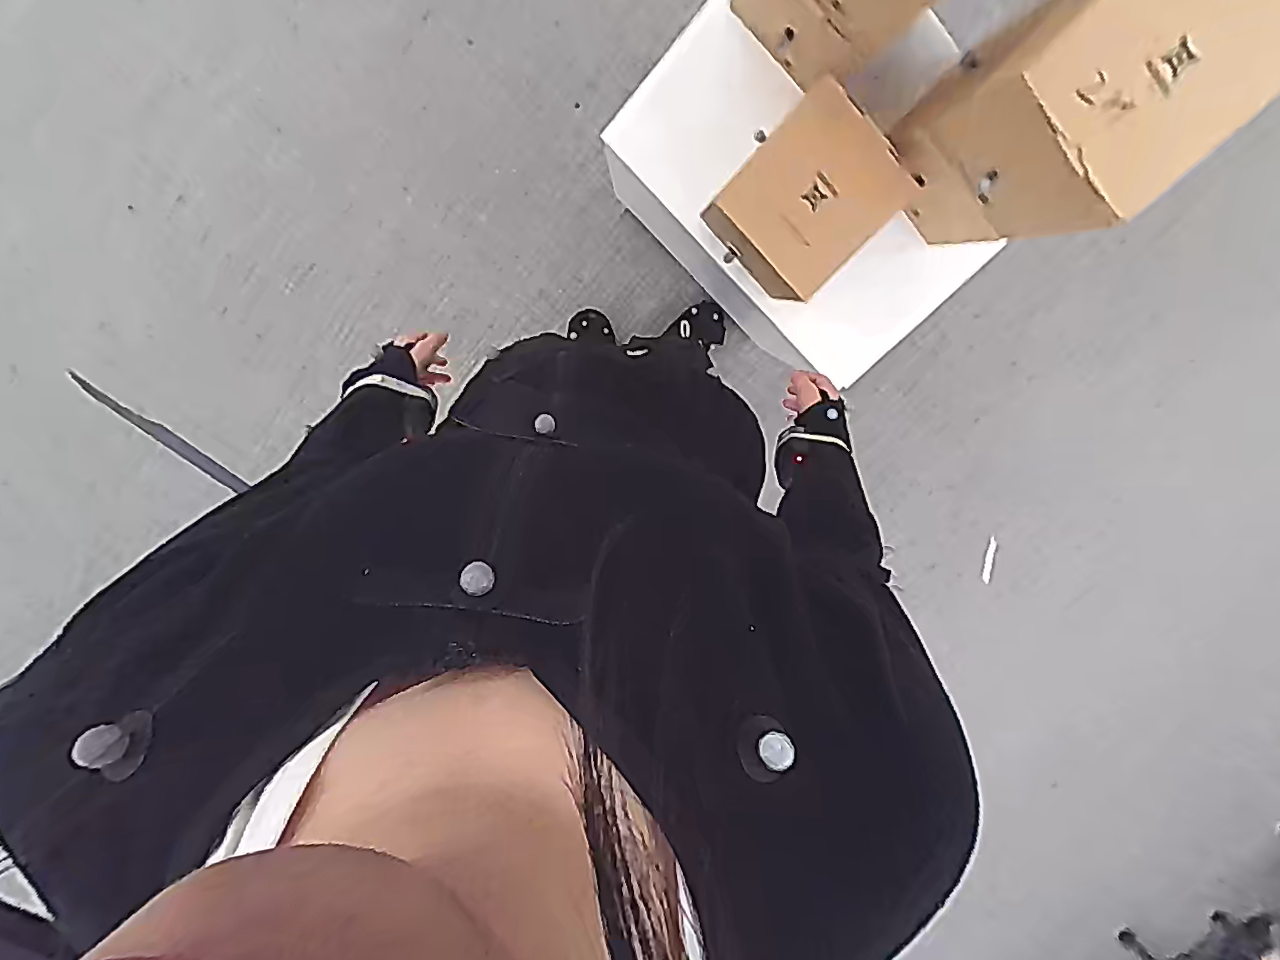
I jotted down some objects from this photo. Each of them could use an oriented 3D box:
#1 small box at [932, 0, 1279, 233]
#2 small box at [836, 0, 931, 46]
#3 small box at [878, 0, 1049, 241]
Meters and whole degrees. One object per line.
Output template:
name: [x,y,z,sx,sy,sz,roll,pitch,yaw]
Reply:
small box: [0.427,-0.364,0.513,0.168,0.176,0.179,43,105,-14]
small box: [0.239,-0.523,0.449,0.168,0.176,0.179,39,106,-14]
small box: [0.425,-0.421,0.670,0.179,0.176,0.168,-42,105,15]
